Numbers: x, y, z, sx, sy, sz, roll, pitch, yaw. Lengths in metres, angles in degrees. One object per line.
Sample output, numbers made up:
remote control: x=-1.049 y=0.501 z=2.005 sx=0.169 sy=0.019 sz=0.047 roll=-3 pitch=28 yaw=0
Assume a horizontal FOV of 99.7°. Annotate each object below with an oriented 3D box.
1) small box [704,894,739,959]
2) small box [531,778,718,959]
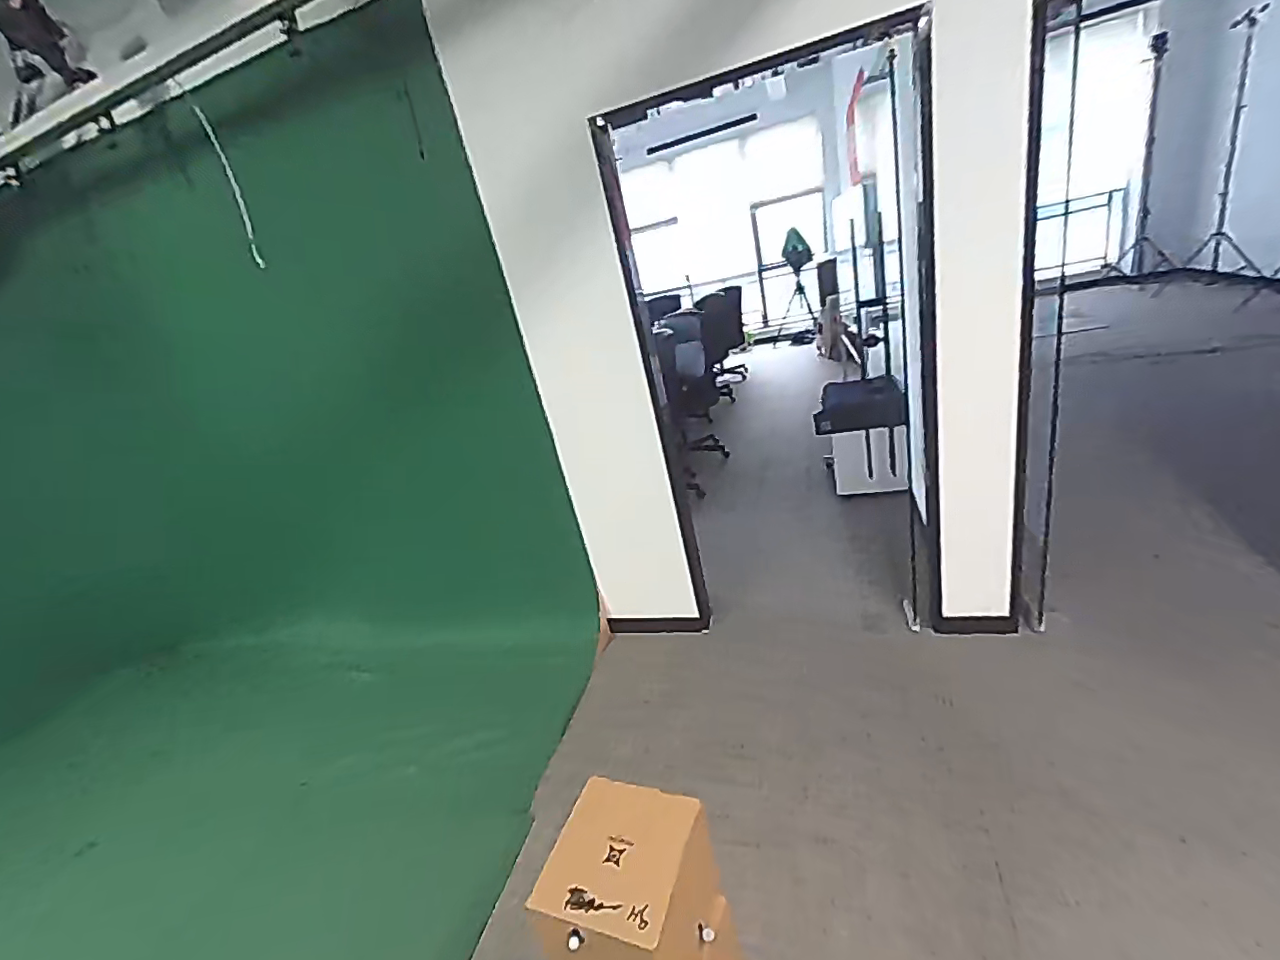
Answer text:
small box: x=0.030 y=0.678 z=0.737 sx=0.168 sy=0.176 sz=0.179 roll=0 pitch=24 yaw=32
small box: x=-0.007 y=0.526 z=0.686 sx=0.168 sy=0.176 sz=0.179 roll=-3 pitch=22 yaw=26
